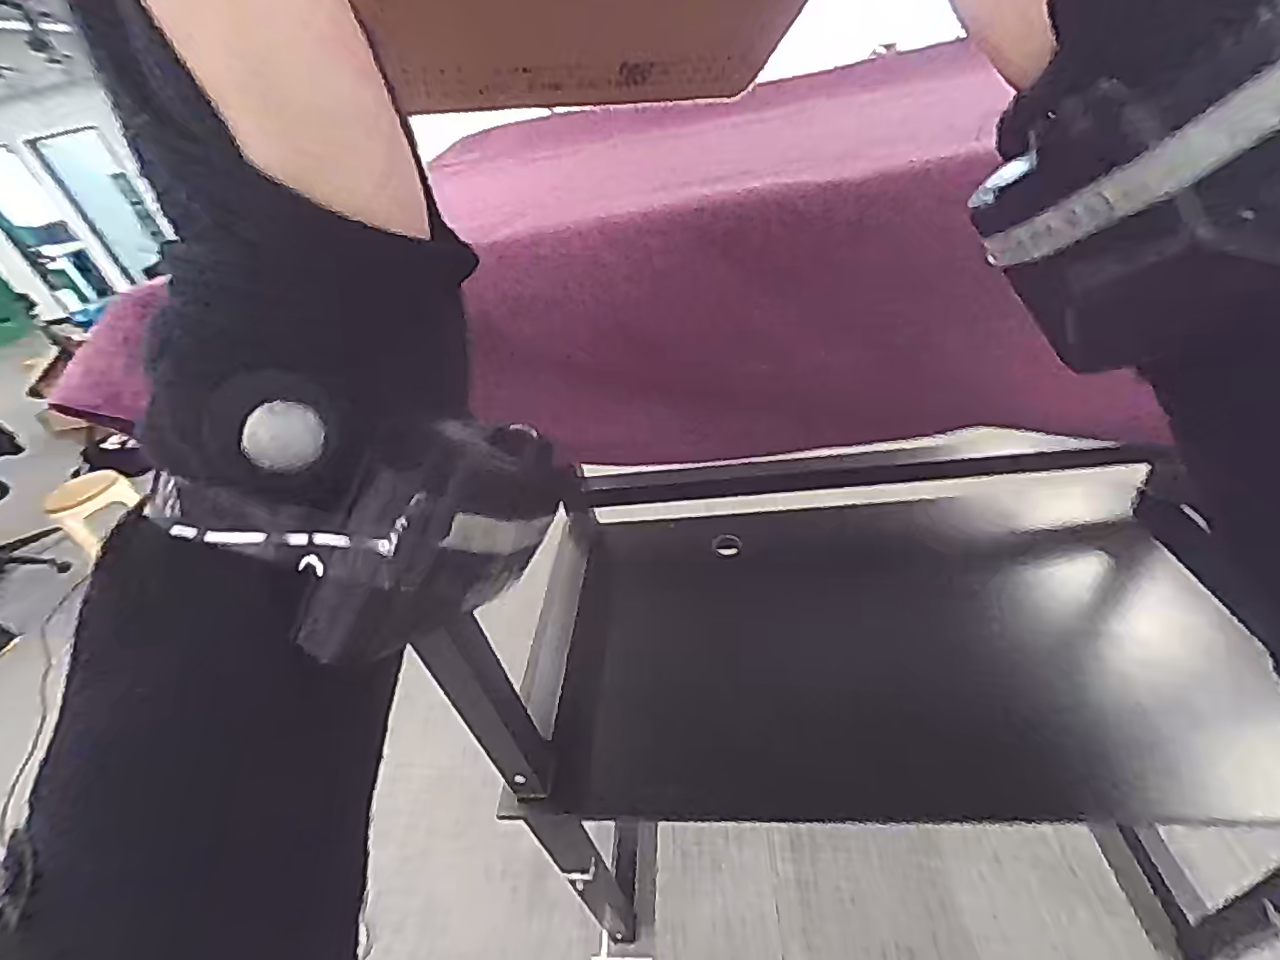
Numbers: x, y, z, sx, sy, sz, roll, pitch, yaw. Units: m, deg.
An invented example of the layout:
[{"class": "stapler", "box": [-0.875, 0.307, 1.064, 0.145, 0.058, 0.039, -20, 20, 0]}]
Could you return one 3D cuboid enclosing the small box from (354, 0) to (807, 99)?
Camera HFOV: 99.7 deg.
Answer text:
[{"class": "small box", "box": [-0.020, -0.243, 0.141, 0.168, 0.179, 0.176, -12, 6, -13]}]
